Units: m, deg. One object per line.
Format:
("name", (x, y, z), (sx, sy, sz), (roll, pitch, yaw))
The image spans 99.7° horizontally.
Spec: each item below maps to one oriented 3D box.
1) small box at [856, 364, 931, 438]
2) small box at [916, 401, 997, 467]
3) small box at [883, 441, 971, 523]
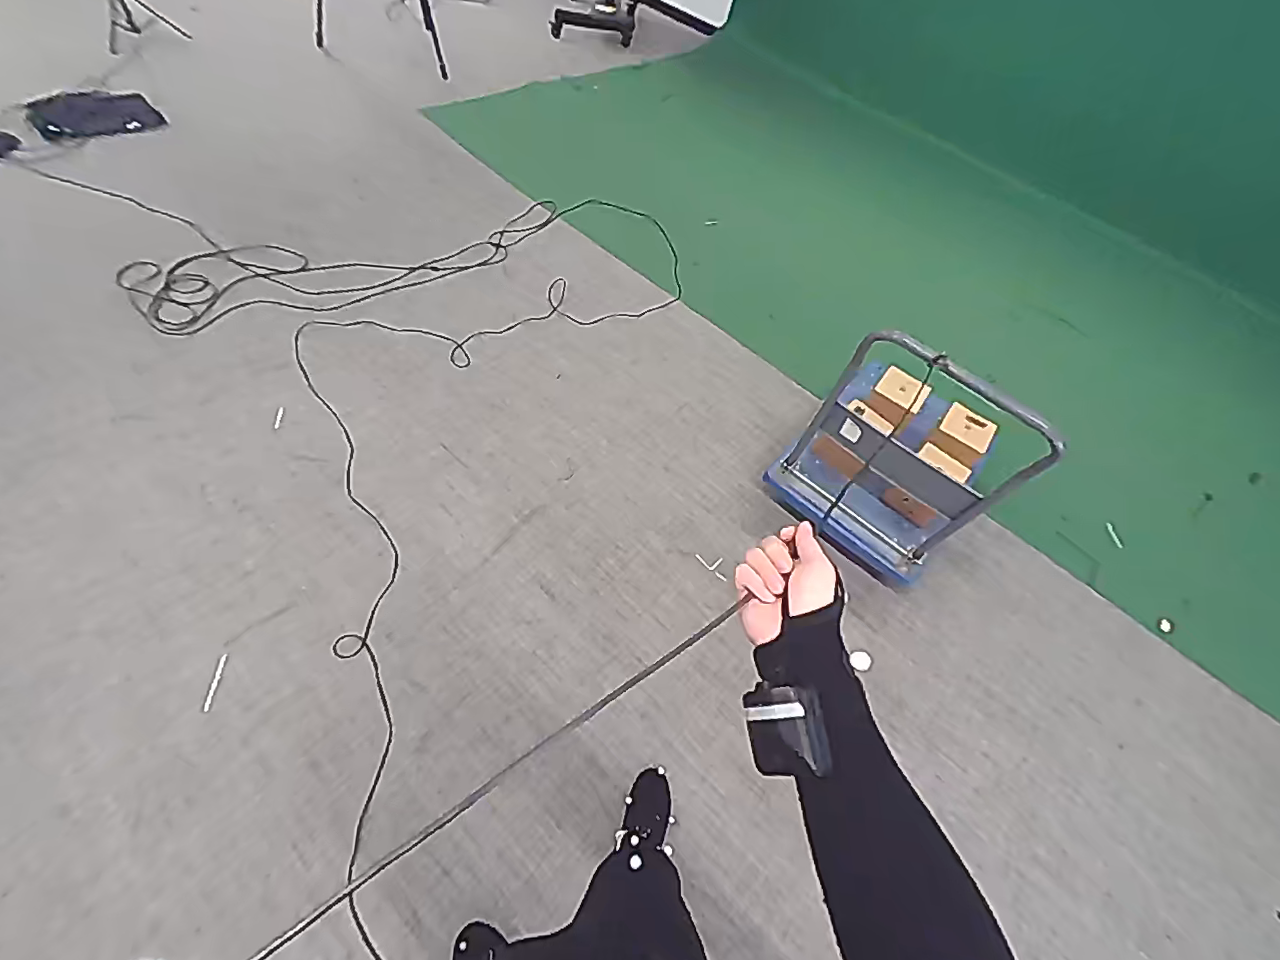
("small box", (0.931, -0.288, 2.000), (0.168, 0.176, 0.179), (37, 58, 14))
("small box", (1.128, -0.144, 1.939), (0.168, 0.176, 0.179), (36, 59, 15))
("small box", (0.950, 0.008, 1.804), (0.168, 0.176, 0.179), (41, 60, 17))
